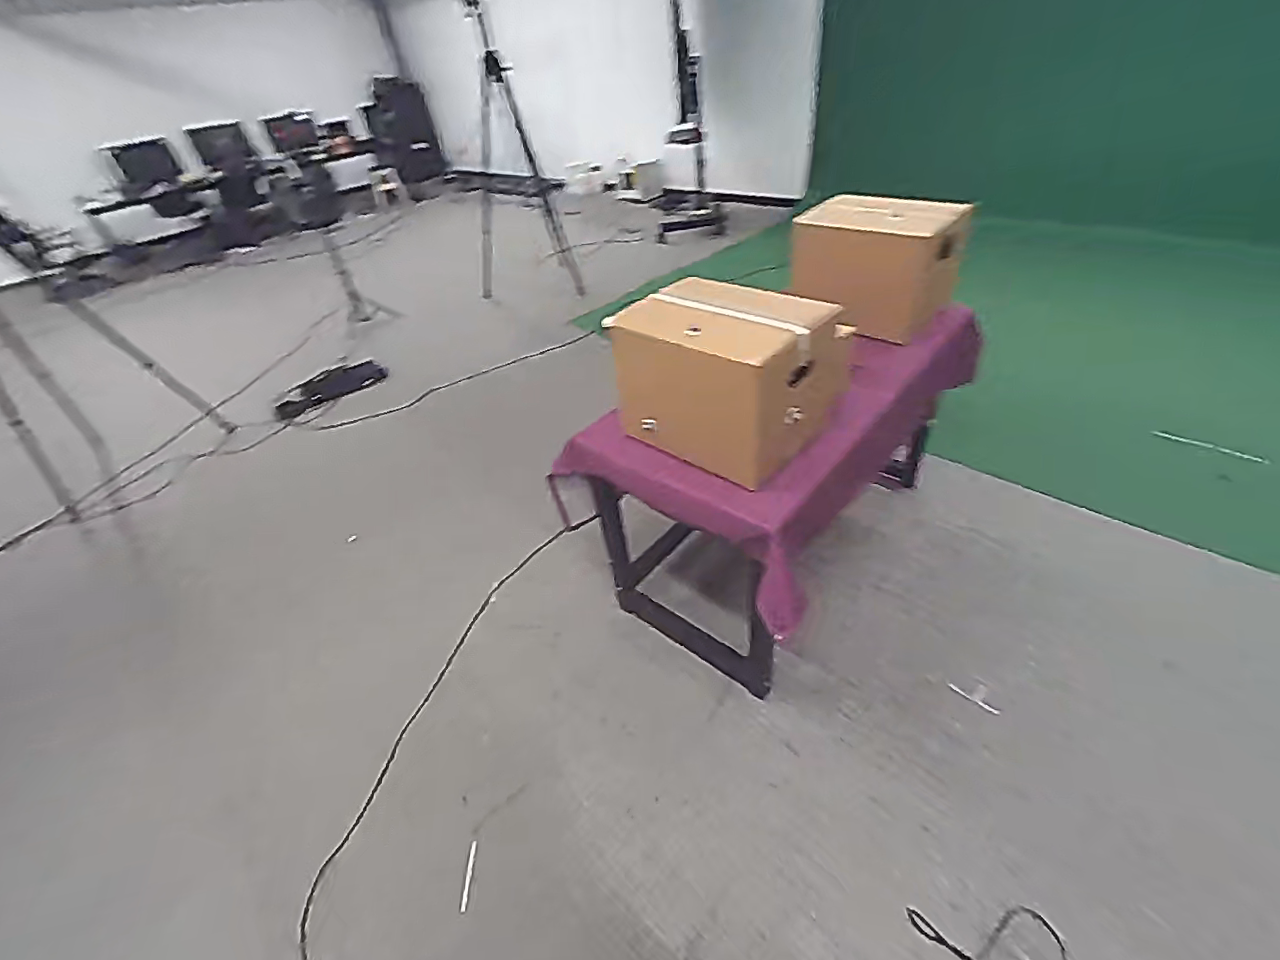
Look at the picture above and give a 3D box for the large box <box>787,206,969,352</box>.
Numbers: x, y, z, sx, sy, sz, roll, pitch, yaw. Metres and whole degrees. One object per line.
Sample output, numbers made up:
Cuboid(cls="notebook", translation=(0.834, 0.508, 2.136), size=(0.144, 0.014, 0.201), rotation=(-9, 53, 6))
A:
Cuboid(cls="large box", translation=(0.726, -0.643, 1.702), size=(0.408, 0.320, 0.320), rotation=(29, 52, 35))
